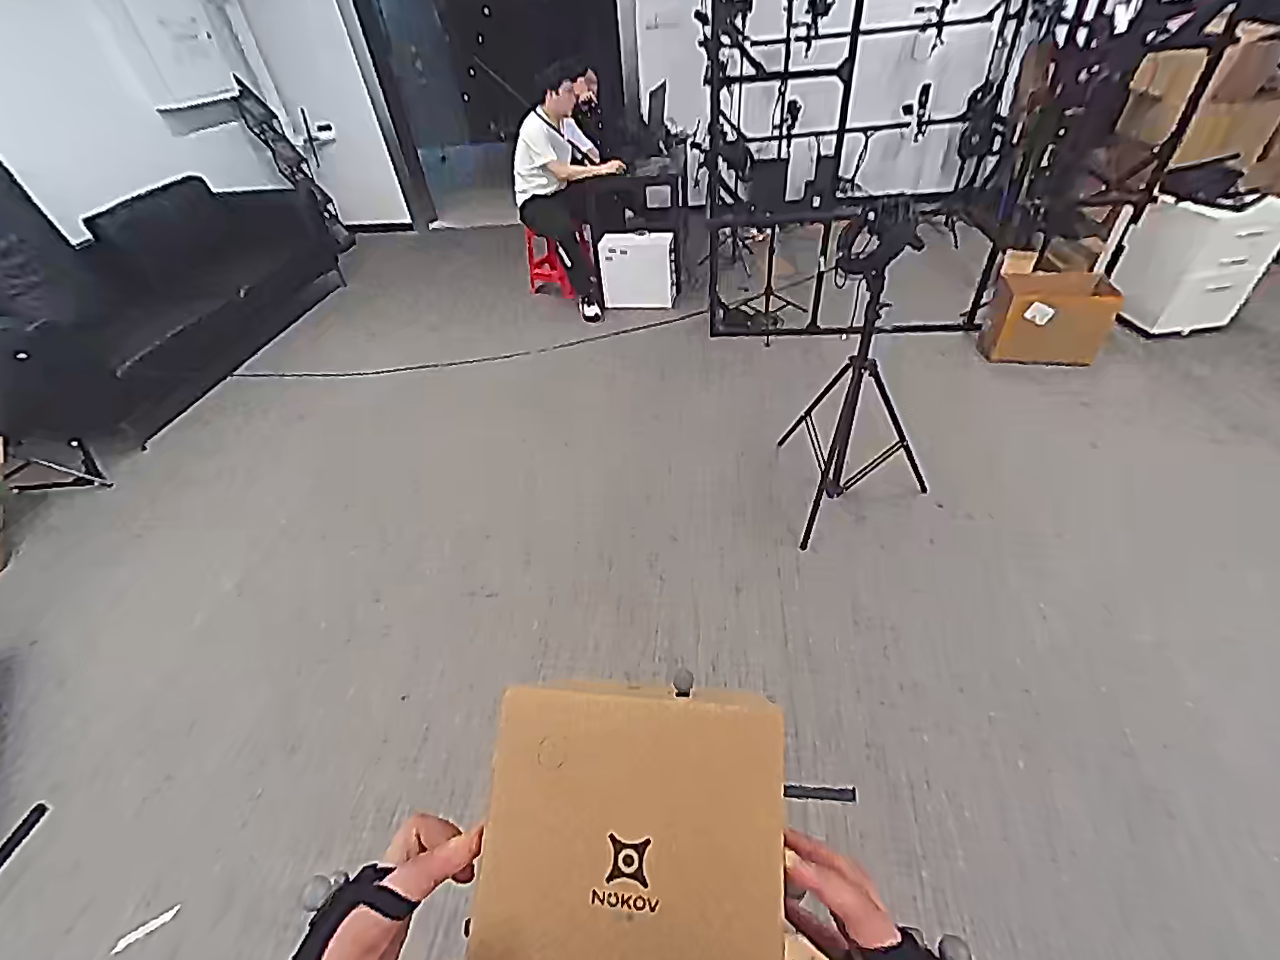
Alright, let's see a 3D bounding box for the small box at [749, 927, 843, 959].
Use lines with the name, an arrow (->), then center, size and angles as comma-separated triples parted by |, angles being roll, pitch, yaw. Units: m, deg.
small box -> 0.290, 0.983, 1.017 | 0.168, 0.176, 0.179 | 4, 42, 10
